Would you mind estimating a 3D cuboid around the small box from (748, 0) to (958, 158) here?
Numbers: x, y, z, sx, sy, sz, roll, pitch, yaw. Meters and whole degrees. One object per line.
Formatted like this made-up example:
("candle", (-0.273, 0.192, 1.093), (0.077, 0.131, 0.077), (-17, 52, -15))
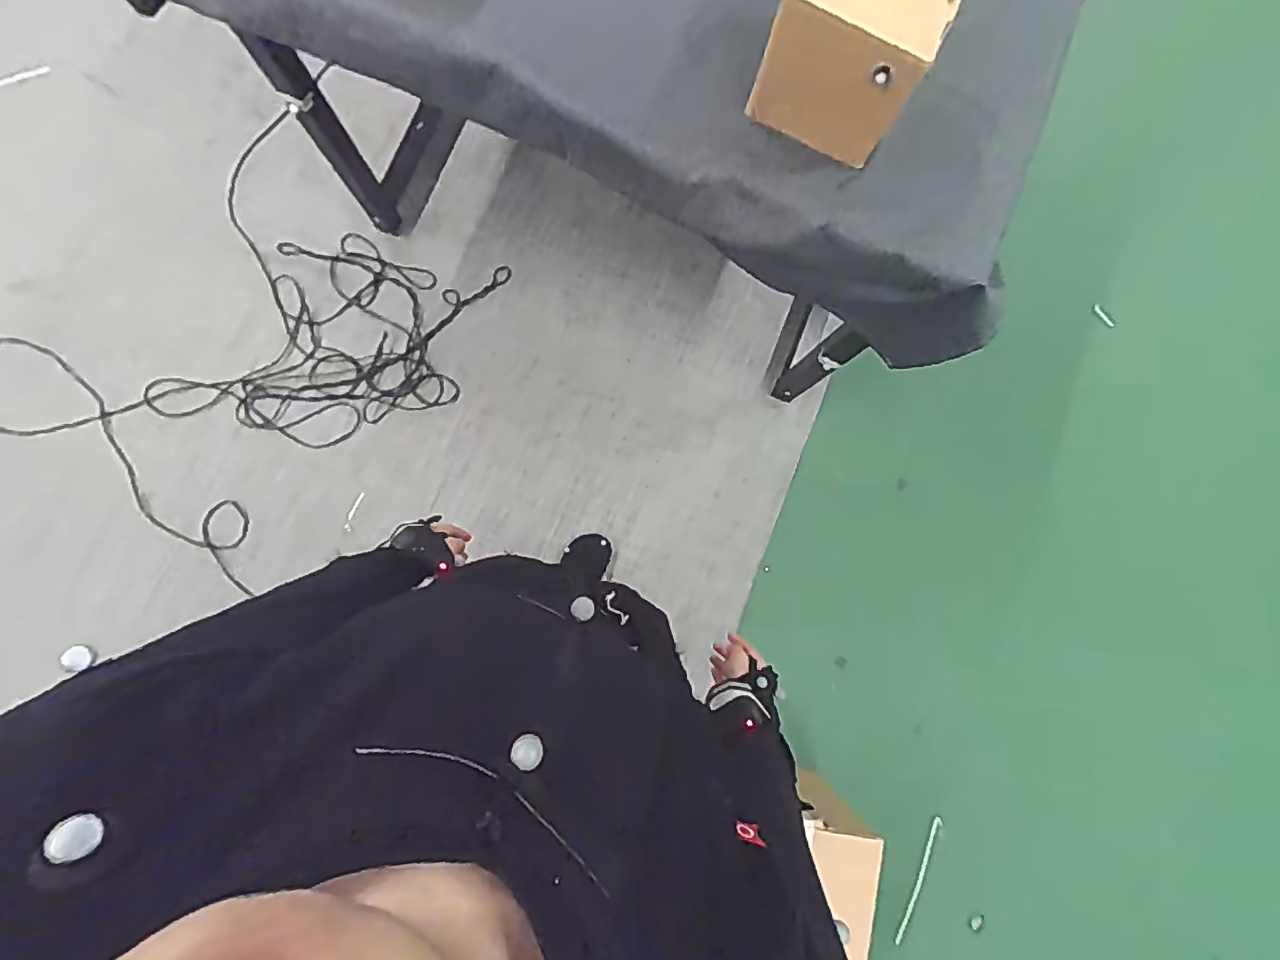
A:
("small box", (0.252, -0.535, 0.651), (0.179, 0.176, 0.168), (25, 83, -2))
